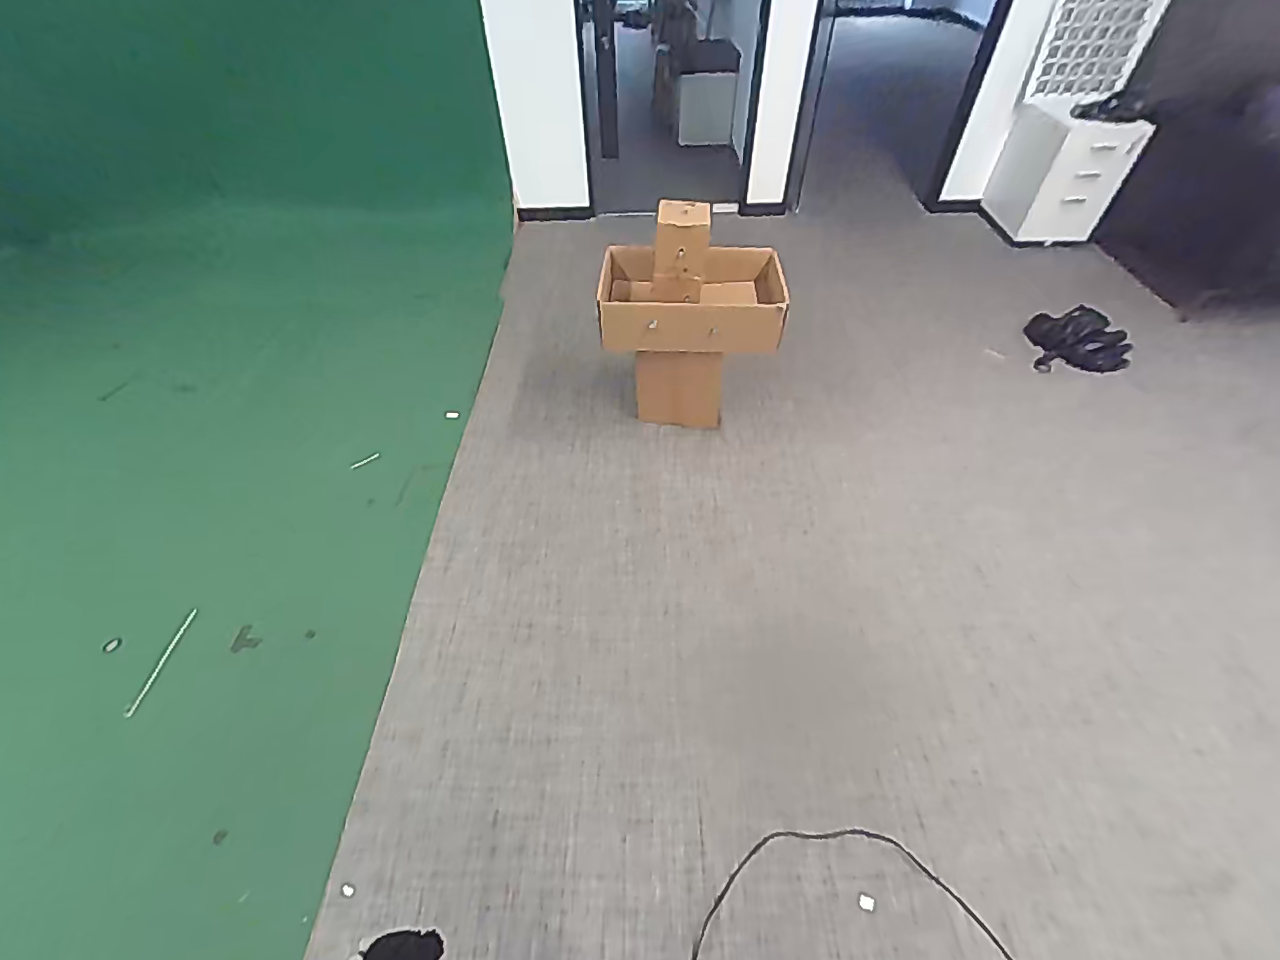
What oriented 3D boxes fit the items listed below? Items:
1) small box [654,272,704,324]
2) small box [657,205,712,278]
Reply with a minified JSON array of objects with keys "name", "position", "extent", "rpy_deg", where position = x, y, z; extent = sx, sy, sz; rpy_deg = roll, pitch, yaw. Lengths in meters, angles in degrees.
[{"name":"small box","position":[0.138,-0.667,1.901],"extent":[0.168,0.176,0.179],"rpy_deg":[5,46,2]},{"name":"small box","position":[0.145,-0.785,1.787],"extent":[0.168,0.176,0.179],"rpy_deg":[5,49,1]}]
